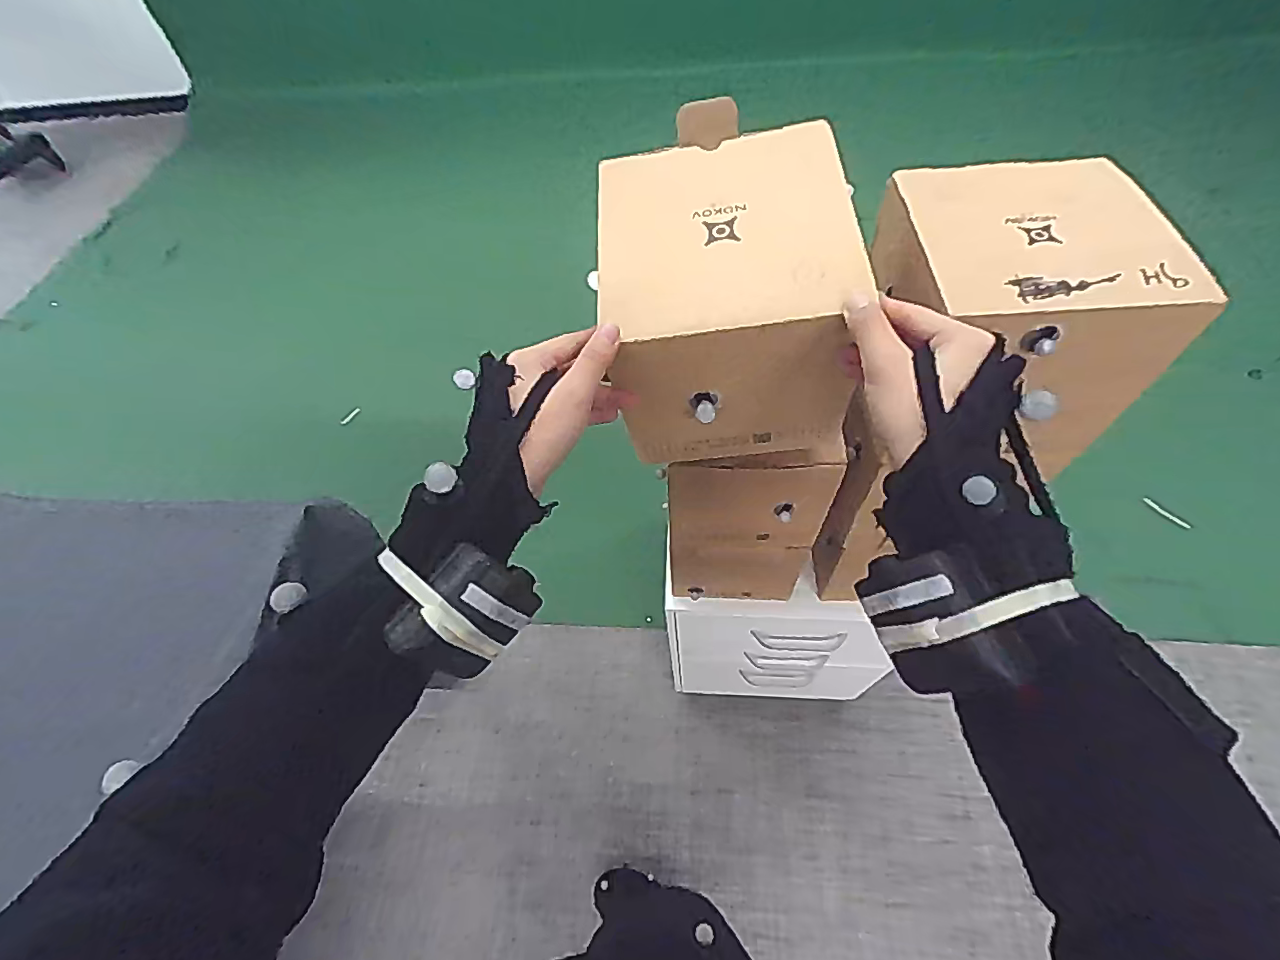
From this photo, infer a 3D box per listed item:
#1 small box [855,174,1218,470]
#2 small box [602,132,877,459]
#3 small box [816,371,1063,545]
[{"bbox_3d":[0.288,-0.128,0.454,0.168,0.176,0.179,0,56,5],"label":"small box"},{"bbox_3d":[0.069,-0.126,0.426,0.168,0.176,0.179,-5,63,8],"label":"small box"},{"bbox_3d":[0.299,-0.037,0.590,0.168,0.176,0.179,-2,57,3],"label":"small box"}]
